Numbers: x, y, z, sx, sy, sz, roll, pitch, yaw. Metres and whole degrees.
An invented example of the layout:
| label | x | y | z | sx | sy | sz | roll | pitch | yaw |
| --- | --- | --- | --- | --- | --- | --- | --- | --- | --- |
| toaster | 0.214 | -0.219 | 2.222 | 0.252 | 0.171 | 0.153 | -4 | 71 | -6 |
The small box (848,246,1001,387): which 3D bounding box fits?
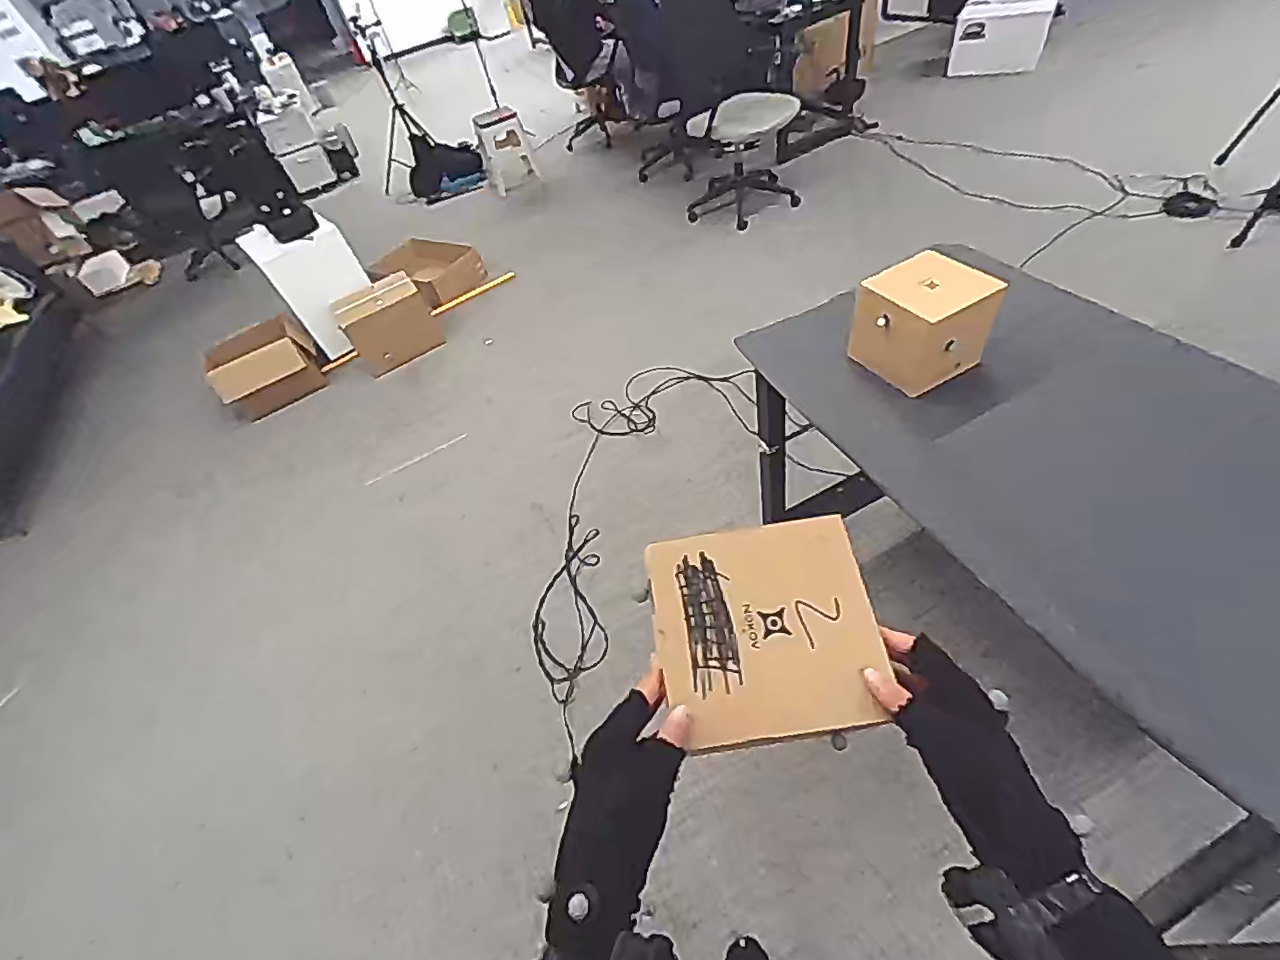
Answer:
| label | x | y | z | sx | sy | sz | roll | pitch | yaw |
| --- | --- | --- | --- | --- | --- | --- | --- | --- | --- |
| small box | 0.513 | -0.296 | 1.003 | 0.168 | 0.176 | 0.179 | -28 | 48 | -10 |
